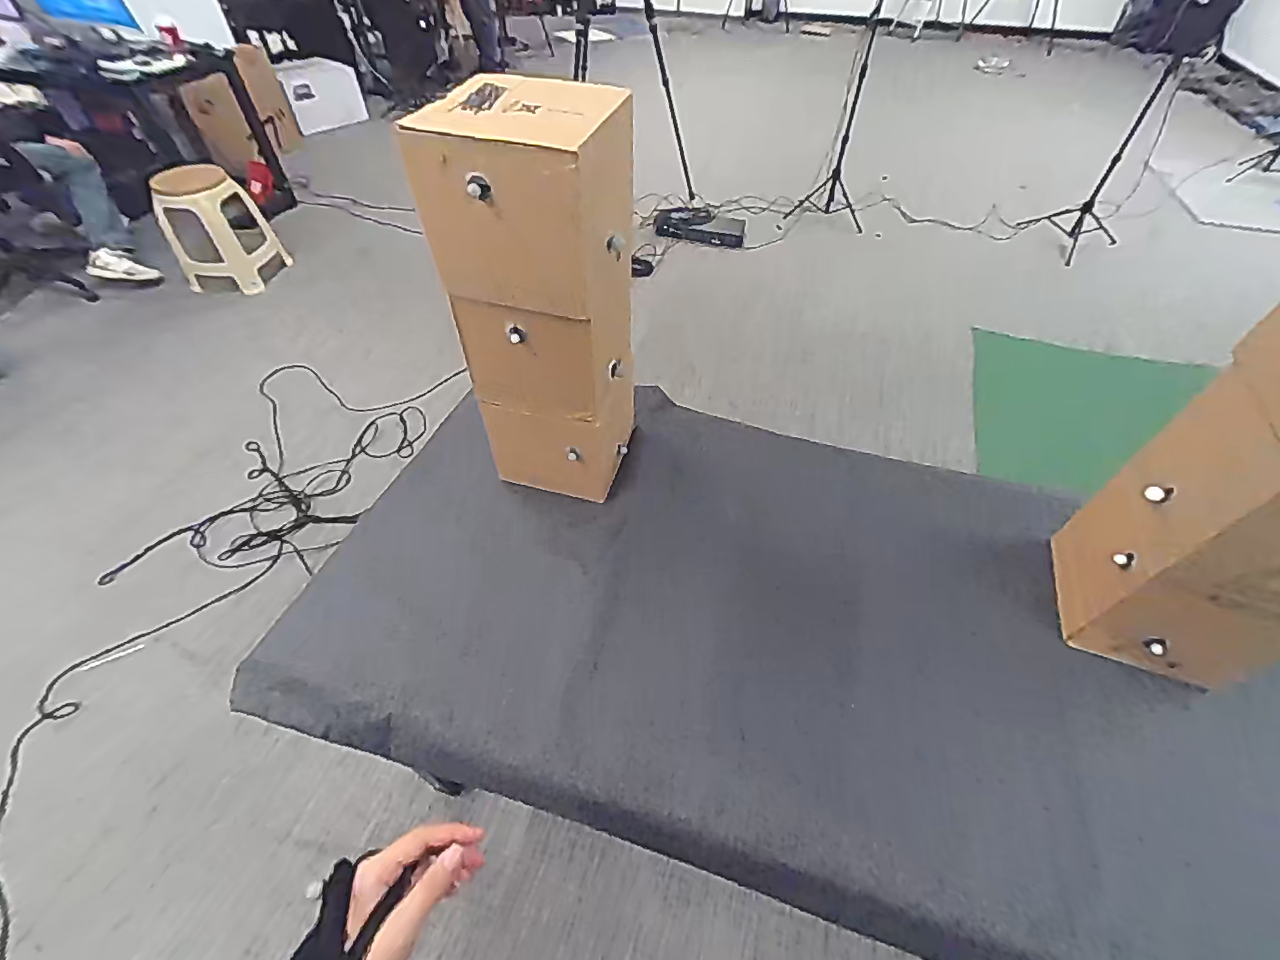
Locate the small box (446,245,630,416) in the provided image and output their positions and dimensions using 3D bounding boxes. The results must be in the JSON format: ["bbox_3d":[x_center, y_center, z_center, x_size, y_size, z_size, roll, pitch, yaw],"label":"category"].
[{"bbox_3d":[-0.117,-0.204,0.704,0.179,0.176,0.168,12,53,8],"label":"small box"}]

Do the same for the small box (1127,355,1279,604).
[{"bbox_3d":[0.637,0.008,0.534,0.168,0.176,0.179,17,53,13],"label":"small box"}]

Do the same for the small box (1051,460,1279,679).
[{"bbox_3d":[0.641,0.110,0.661,0.168,0.176,0.179,16,52,13],"label":"small box"}]

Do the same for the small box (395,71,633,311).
[{"bbox_3d":[-0.114,-0.301,0.571,0.179,0.176,0.168,14,53,9],"label":"small box"}]
